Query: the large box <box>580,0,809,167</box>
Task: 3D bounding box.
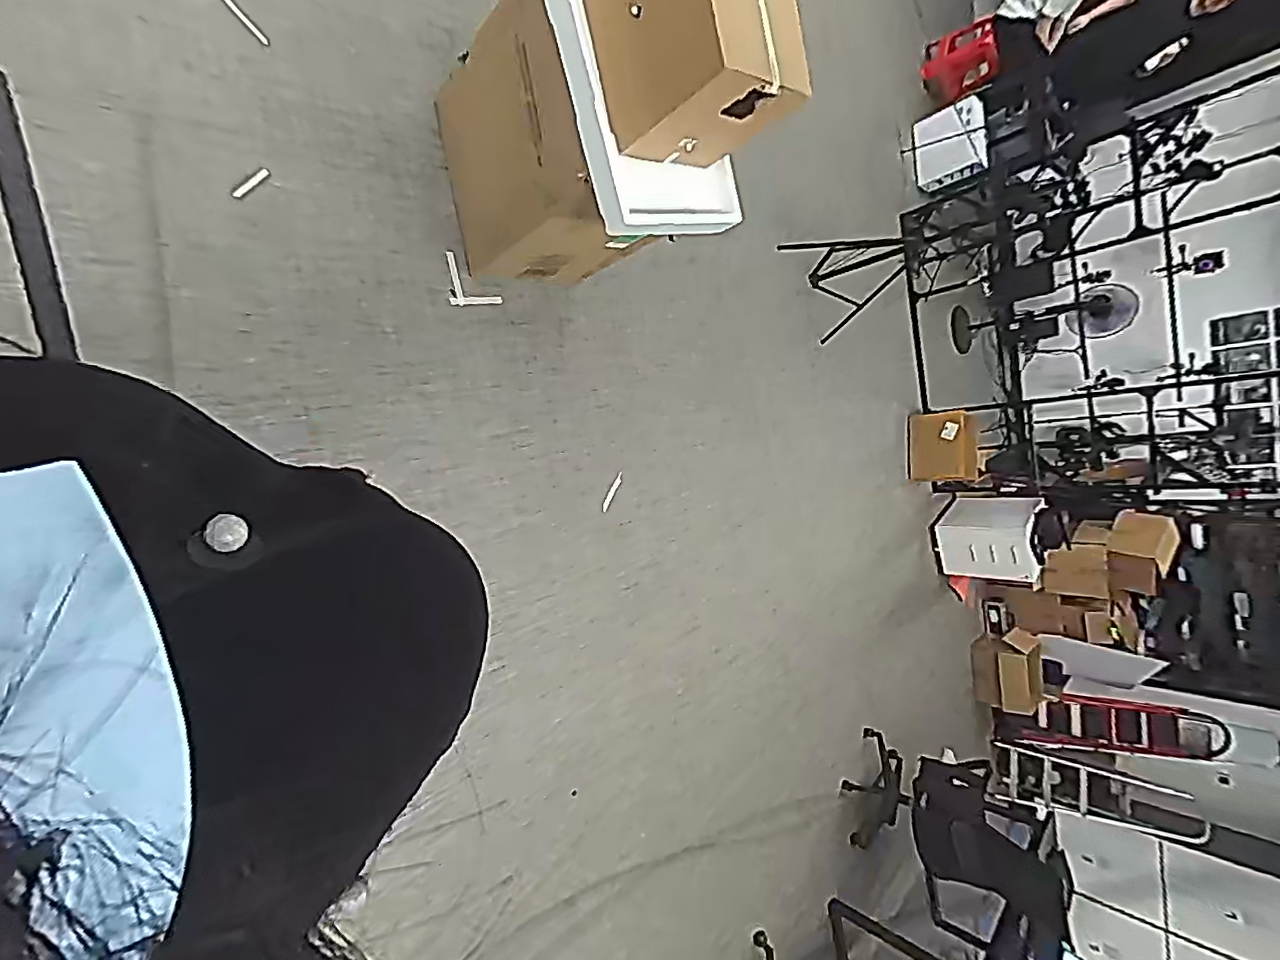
[{"bbox_3d":[0.108,-0.948,1.145,0.320,0.320,0.408,-21,100,-41],"label":"large box"}]
